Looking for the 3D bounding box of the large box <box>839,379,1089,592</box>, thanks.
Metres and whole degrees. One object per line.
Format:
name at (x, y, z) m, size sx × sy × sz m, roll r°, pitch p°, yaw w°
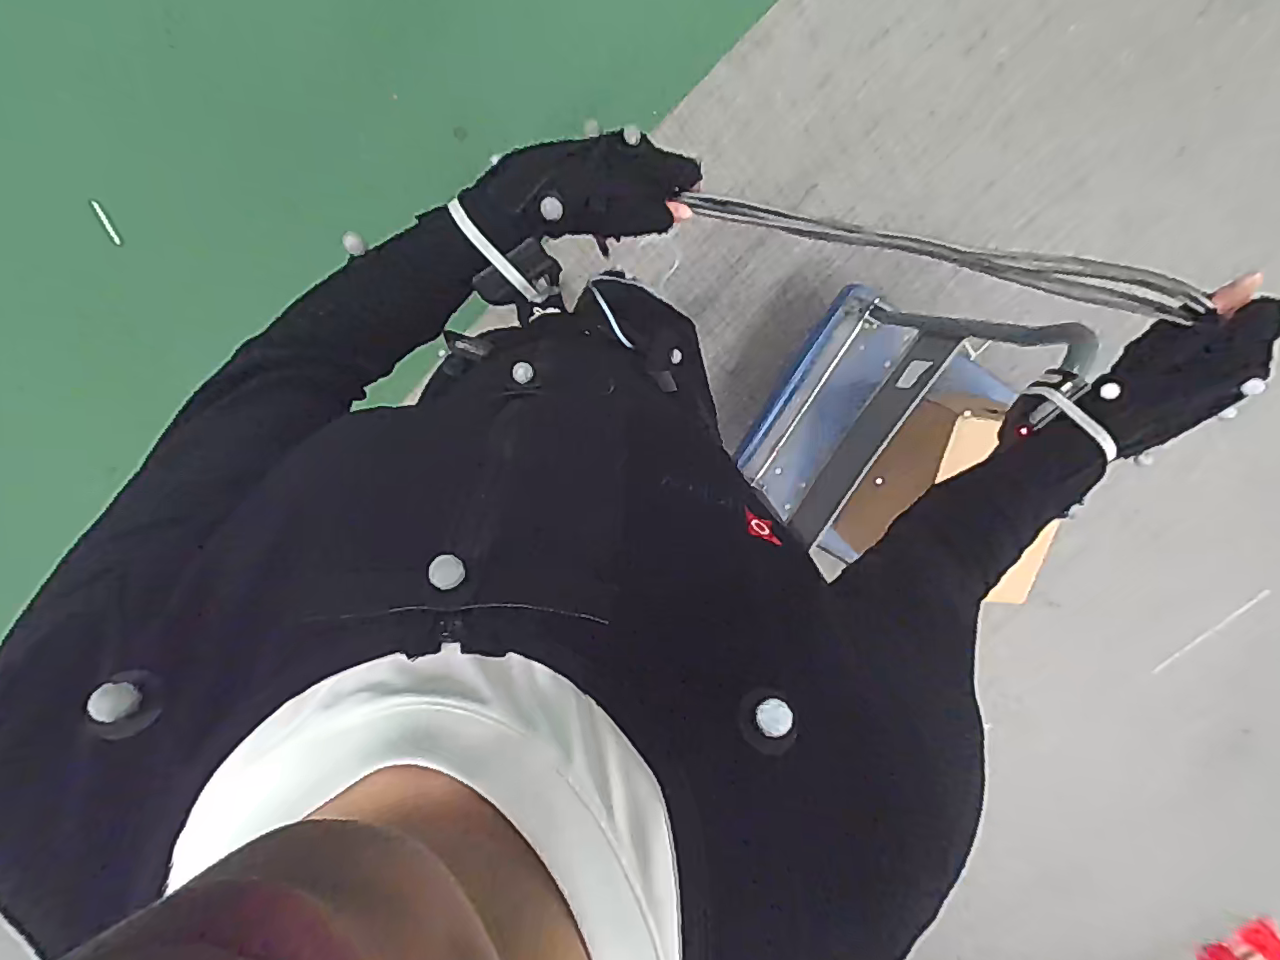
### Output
large box at (0.716, 0.003, 1.270) m, size 0.320 × 0.320 × 0.408 m, roll 6°, pitch 110°, yaw -8°
